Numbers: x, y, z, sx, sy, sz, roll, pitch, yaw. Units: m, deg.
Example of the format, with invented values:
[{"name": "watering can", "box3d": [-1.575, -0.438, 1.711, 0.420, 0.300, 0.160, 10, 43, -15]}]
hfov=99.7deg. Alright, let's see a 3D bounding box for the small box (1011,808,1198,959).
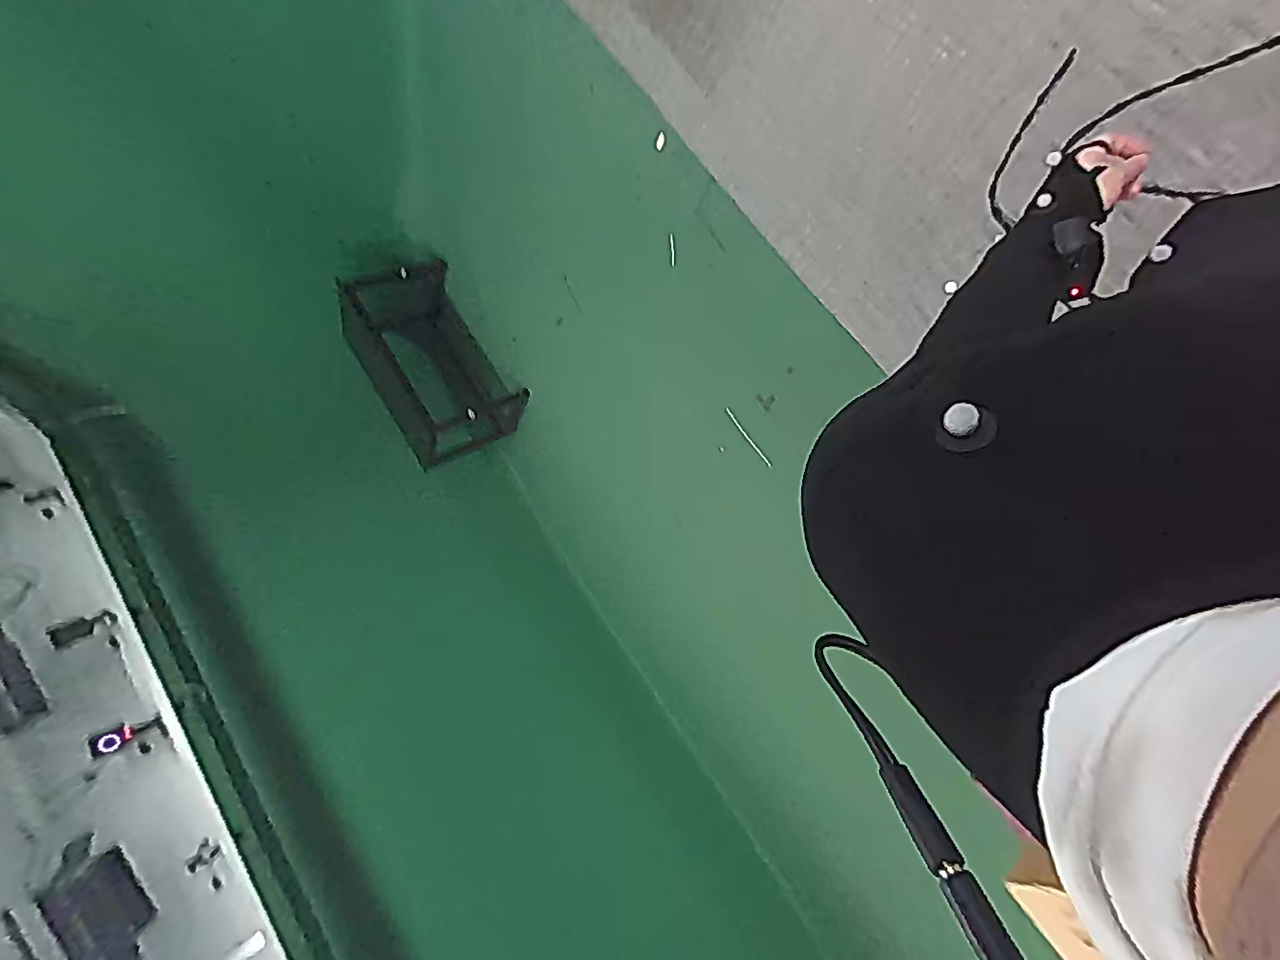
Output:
[{"name": "small box", "box3d": [0.818, 0.722, 0.954, 0.179, 0.176, 0.168, 53, 147, 12]}]
